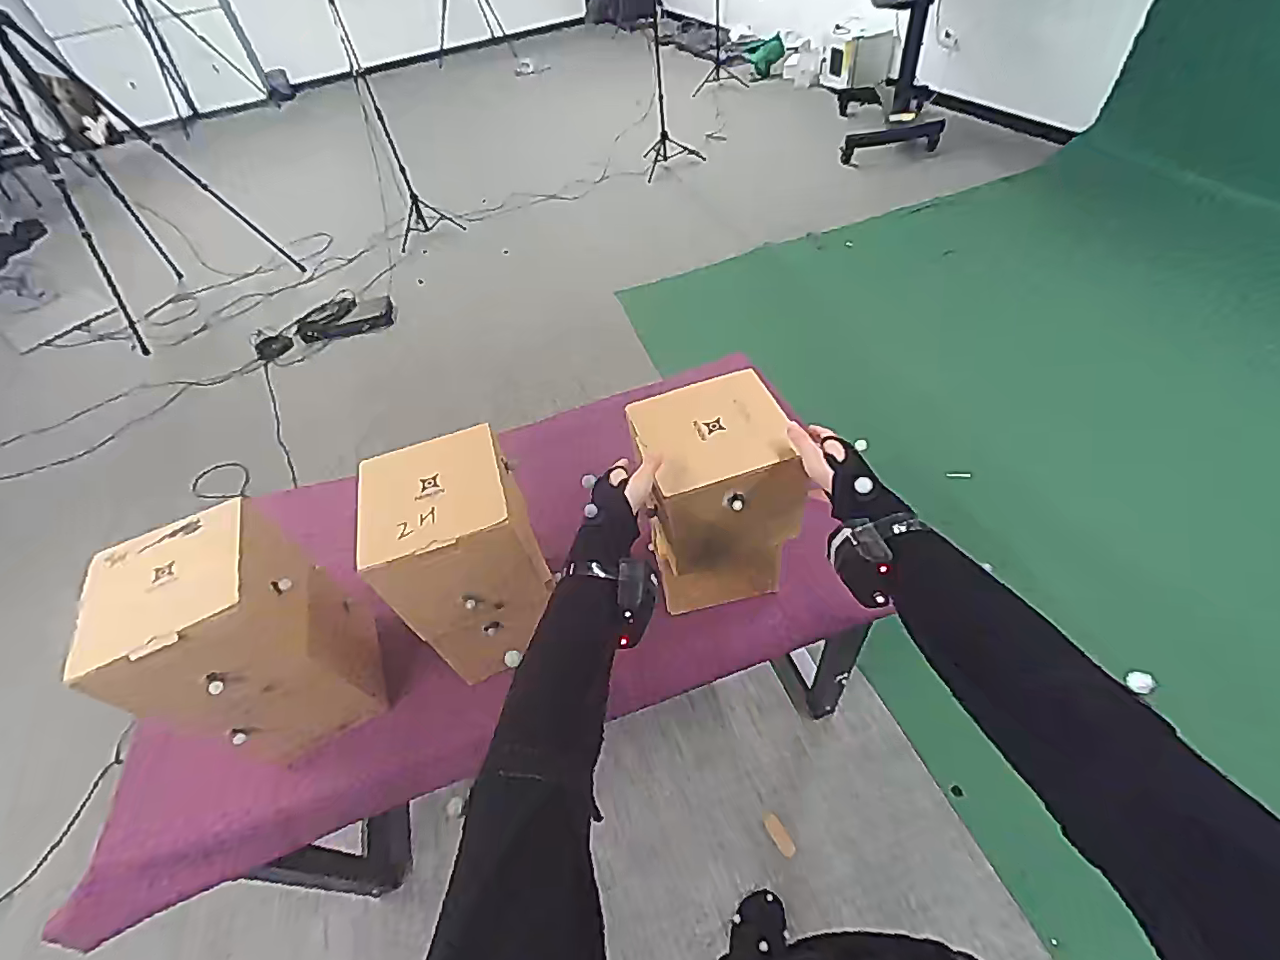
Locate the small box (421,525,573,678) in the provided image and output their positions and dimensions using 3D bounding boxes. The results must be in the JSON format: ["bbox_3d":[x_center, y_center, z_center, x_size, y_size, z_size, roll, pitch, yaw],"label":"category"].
[{"bbox_3d":[-0.220,0.165,0.810,0.179,0.176,0.168,-23,50,-12],"label":"small box"}]

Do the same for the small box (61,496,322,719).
[{"bbox_3d":[-0.505,0.158,0.642,0.168,0.176,0.179,-25,50,-12],"label":"small box"}]

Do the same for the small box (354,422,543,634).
[{"bbox_3d":[-0.234,0.061,0.682,0.168,0.176,0.179,-19,49,-7],"label":"small box"}]

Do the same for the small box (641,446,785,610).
[{"bbox_3d":[0.108,0.077,0.832,0.179,0.176,0.168,-13,48,0],"label":"small box"}]
